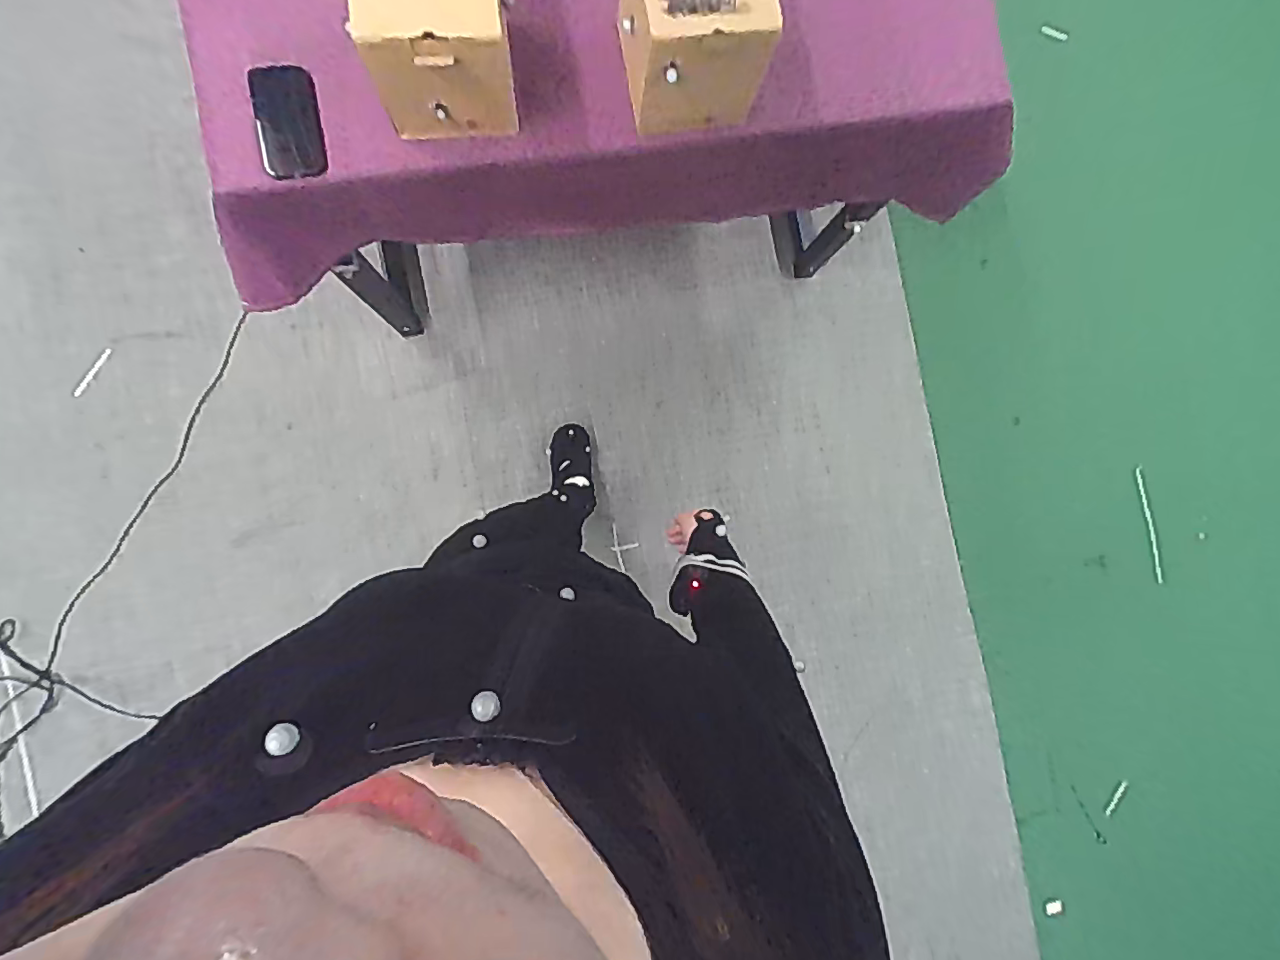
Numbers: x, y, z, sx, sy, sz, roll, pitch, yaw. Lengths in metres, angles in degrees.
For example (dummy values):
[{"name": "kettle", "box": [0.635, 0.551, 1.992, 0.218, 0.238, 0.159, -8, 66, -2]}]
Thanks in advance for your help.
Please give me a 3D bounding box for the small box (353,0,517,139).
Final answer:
[{"name": "small box", "box": [-0.253, -0.575, 0.689, 0.168, 0.176, 0.179, -6, 89, -8]}]
